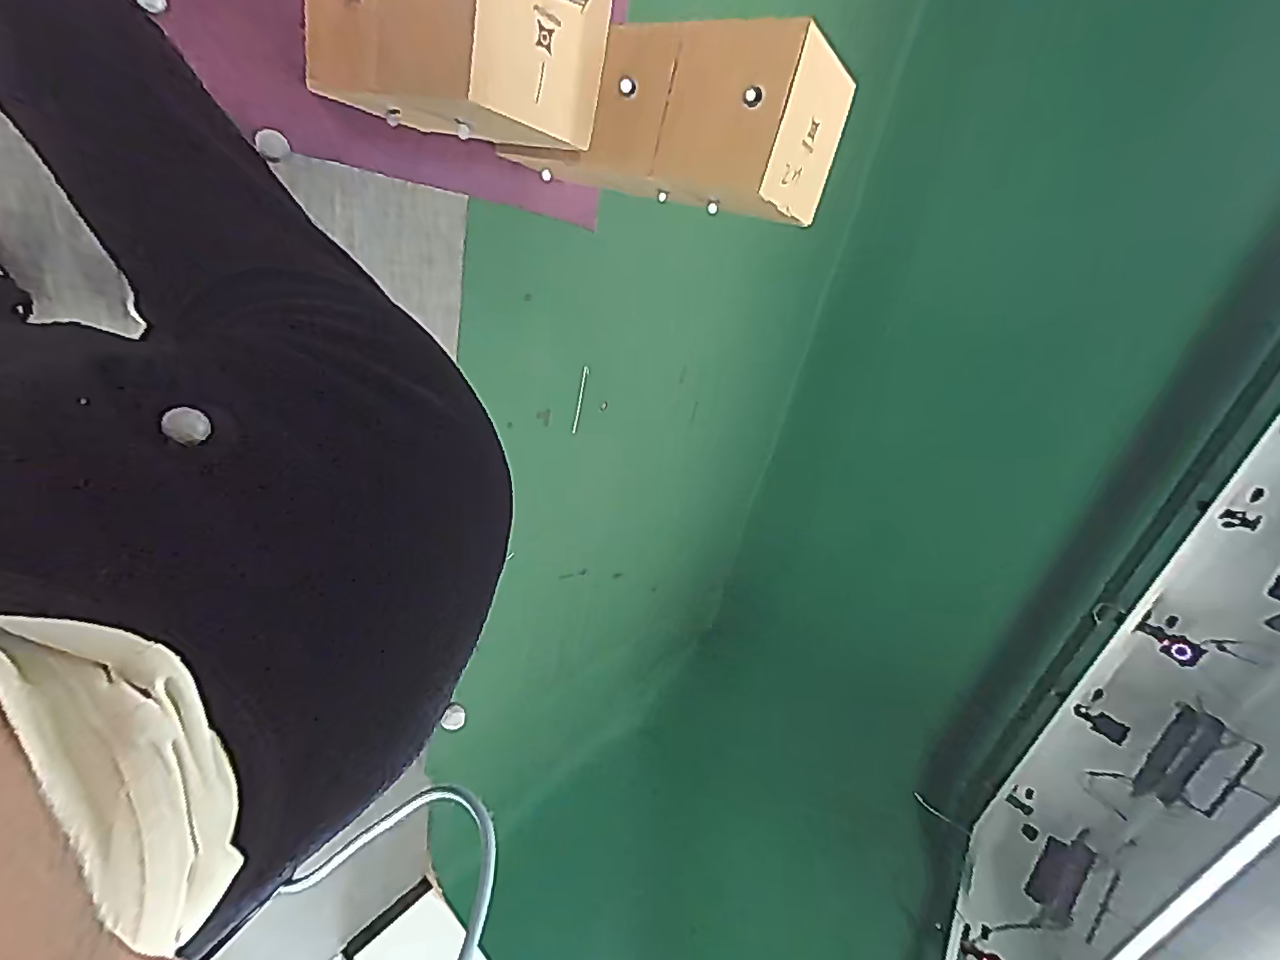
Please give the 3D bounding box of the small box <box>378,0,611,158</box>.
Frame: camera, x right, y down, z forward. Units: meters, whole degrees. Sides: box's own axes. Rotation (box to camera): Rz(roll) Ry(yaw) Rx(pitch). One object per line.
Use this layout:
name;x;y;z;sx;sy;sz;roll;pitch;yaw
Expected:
small box;-0.156;-0.469;0.574;0.168;0.176;0.179;-15;126;-51

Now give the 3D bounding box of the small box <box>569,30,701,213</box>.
small box;0.016;-0.513;0.792;0.168;0.176;0.179;-12;123;-51

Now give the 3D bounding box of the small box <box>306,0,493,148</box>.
small box;-0.283;-0.531;0.657;0.168;0.176;0.179;-16;125;-51

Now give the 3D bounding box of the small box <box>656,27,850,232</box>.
small box;0.143;-0.449;0.708;0.168;0.176;0.179;-11;123;-52
